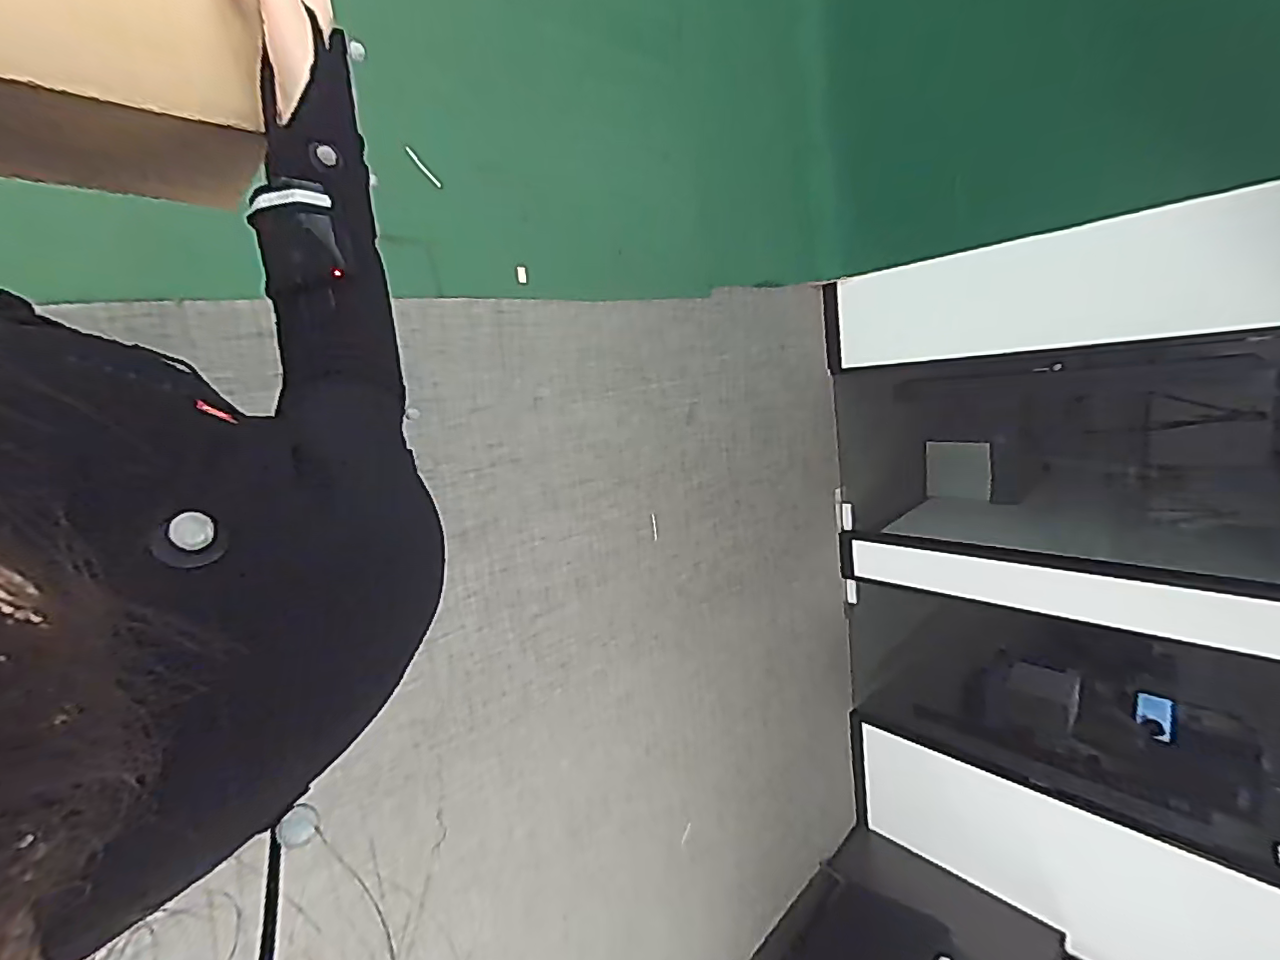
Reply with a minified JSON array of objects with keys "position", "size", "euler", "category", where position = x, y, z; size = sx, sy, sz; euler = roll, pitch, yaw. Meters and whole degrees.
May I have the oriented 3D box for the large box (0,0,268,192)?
[{"position":[-0.530,-0.412,0.362],"size":[0.408,0.320,0.320],"euler":[-12,109,-39],"category":"large box"}]
